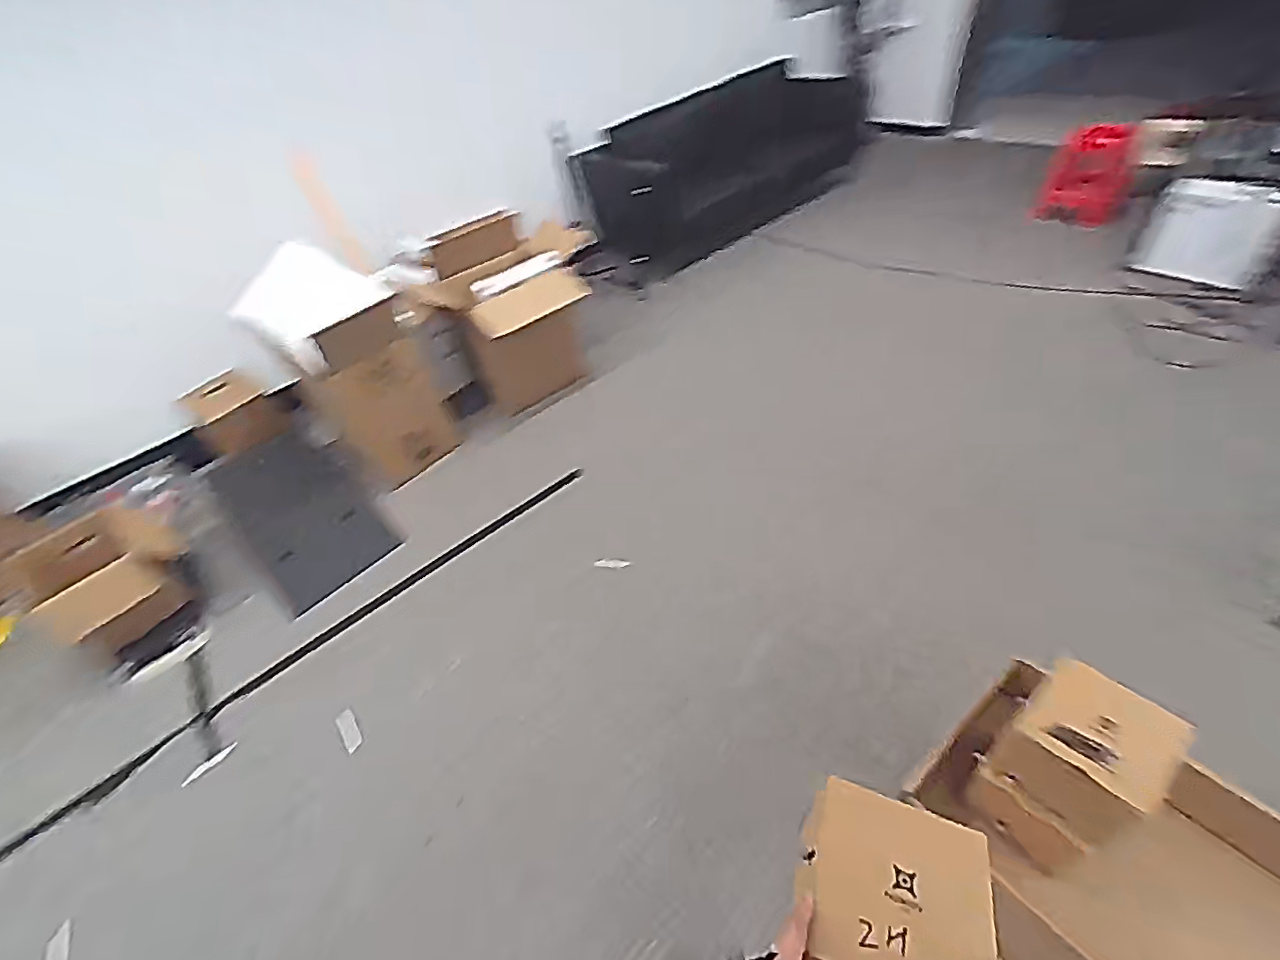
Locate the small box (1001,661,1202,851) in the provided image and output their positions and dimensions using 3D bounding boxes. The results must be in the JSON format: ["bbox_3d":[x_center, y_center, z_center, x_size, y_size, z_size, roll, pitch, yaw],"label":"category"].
[{"bbox_3d":[0.699,0.431,0.842,0.179,0.176,0.168,-34,47,-23],"label":"small box"}]

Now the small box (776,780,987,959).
[{"bbox_3d":[0.252,0.476,0.587,0.168,0.176,0.179,14,41,17],"label":"small box"}]

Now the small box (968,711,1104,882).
[{"bbox_3d":[0.713,0.554,0.950,0.179,0.176,0.168,-35,47,-22],"label":"small box"}]
